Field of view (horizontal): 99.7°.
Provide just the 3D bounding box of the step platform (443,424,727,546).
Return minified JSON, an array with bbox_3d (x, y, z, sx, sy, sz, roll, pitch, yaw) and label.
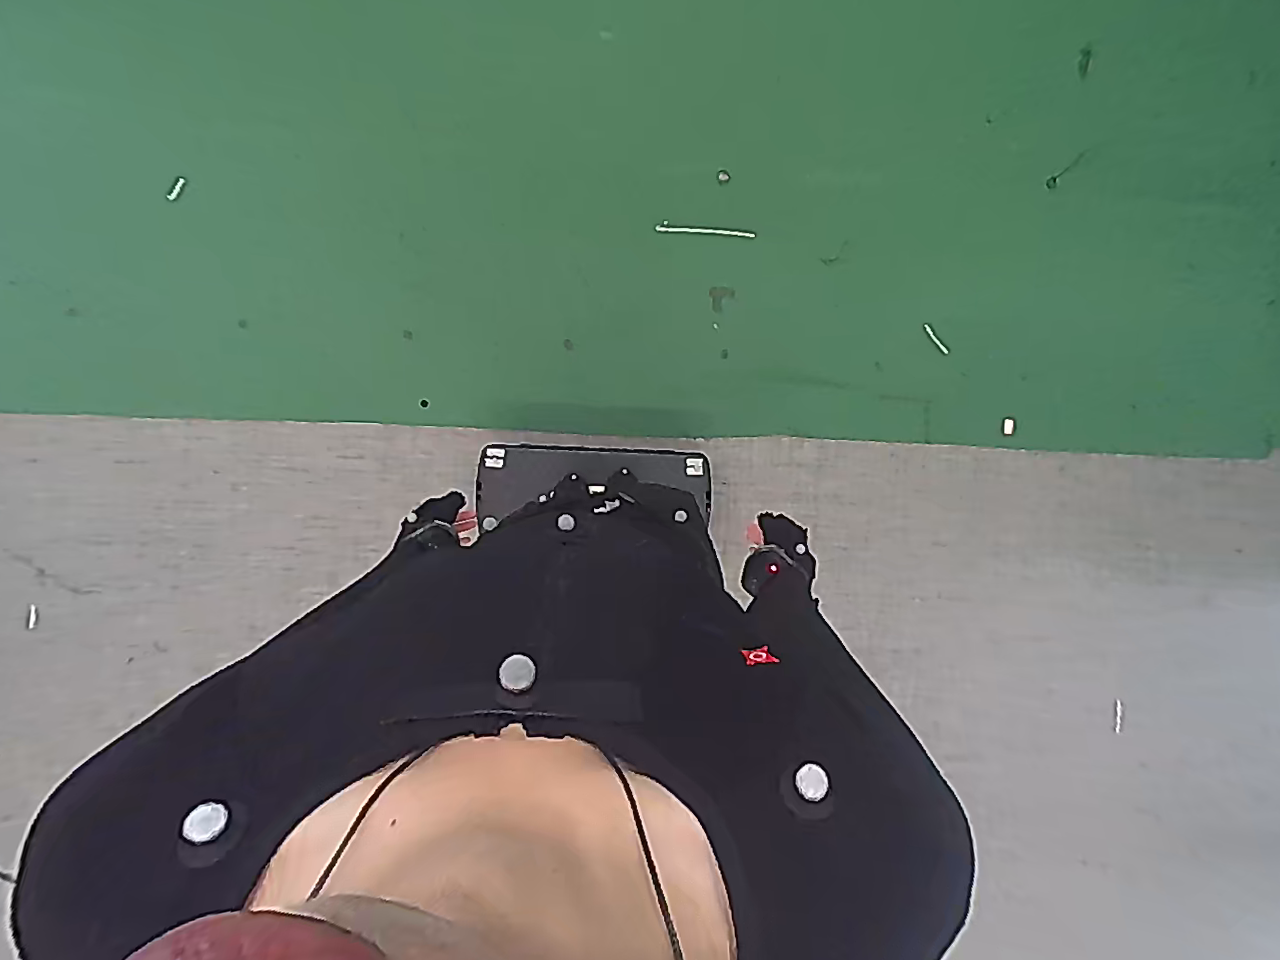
[{"bbox_3d":[-0.132,0.012,1.391,0.684,0.204,0.286,1,92,-2],"label":"step platform"}]
